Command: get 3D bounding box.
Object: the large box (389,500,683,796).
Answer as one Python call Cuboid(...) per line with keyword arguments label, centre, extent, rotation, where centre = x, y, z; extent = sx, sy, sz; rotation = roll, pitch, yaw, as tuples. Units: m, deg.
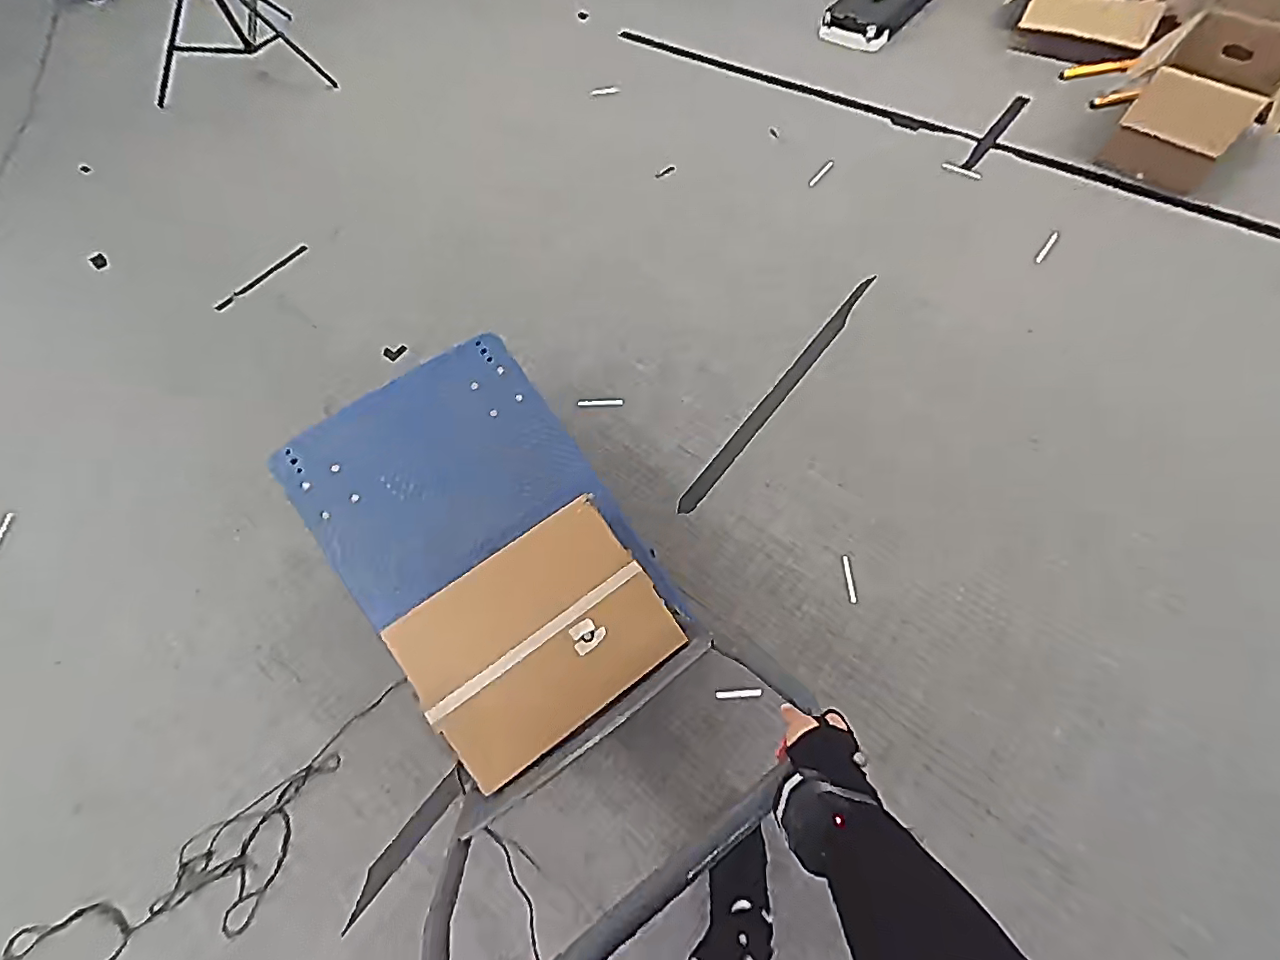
Cuboid(label="large box", centre=(-0.188, 0.299, 1.052), extent=(0.408, 0.320, 0.320), rotation=(-36, 86, -14))
